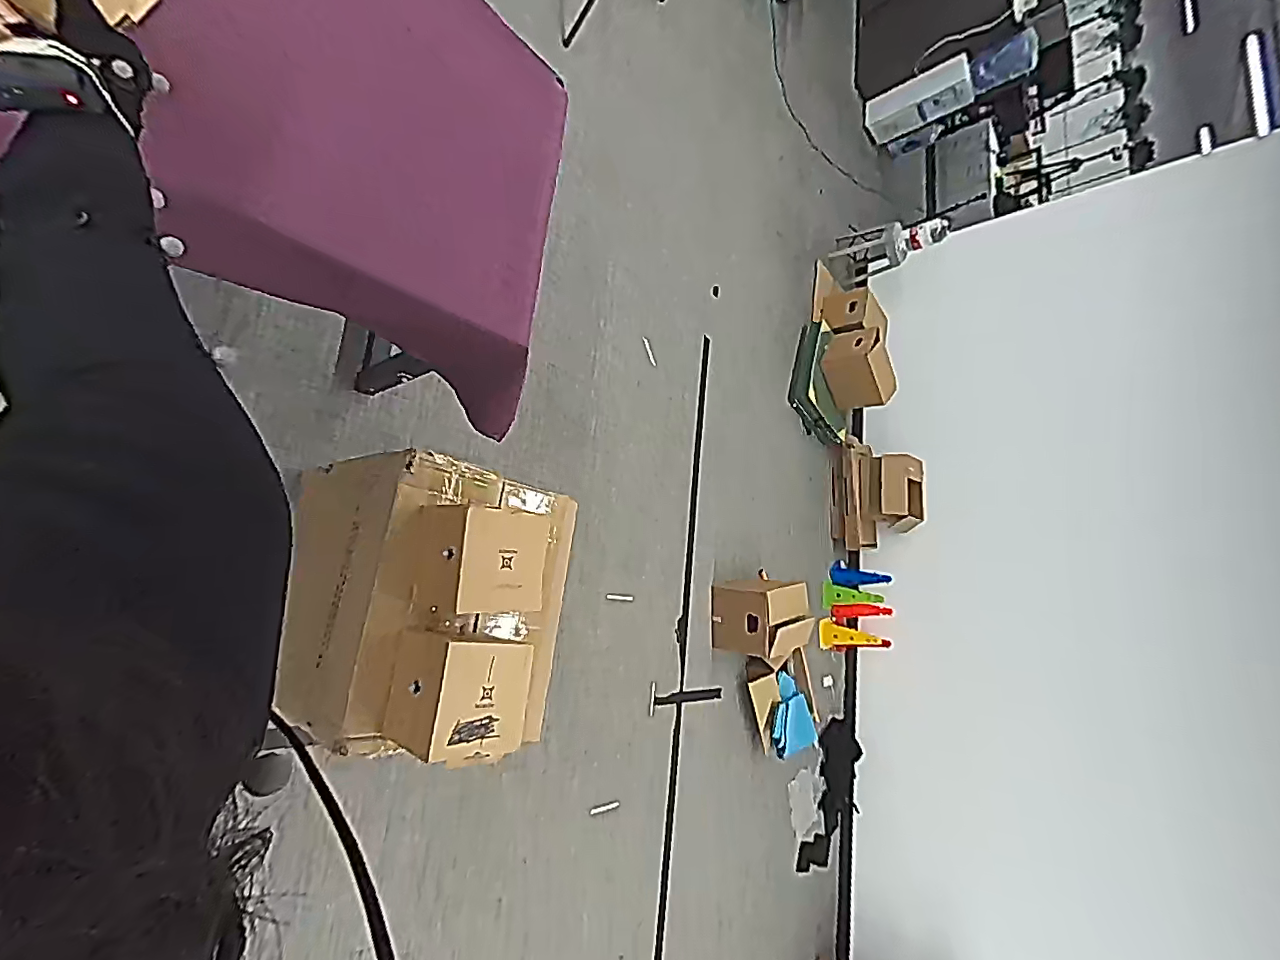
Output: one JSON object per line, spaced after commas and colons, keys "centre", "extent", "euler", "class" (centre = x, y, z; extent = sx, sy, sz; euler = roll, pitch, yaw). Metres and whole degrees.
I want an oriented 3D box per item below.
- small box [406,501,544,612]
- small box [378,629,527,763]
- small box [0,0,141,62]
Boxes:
{"centre": [-0.292, 0.134, 0.956], "extent": [0.168, 0.176, 0.179], "euler": [13, 79, -46], "class": "small box"}
{"centre": [-0.317, 0.352, 0.909], "extent": [0.168, 0.176, 0.179], "euler": [20, 70, -45], "class": "small box"}
{"centre": [-0.579, -0.511, 0.478], "extent": [0.179, 0.176, 0.168], "euler": [52, 53, -59], "class": "small box"}
